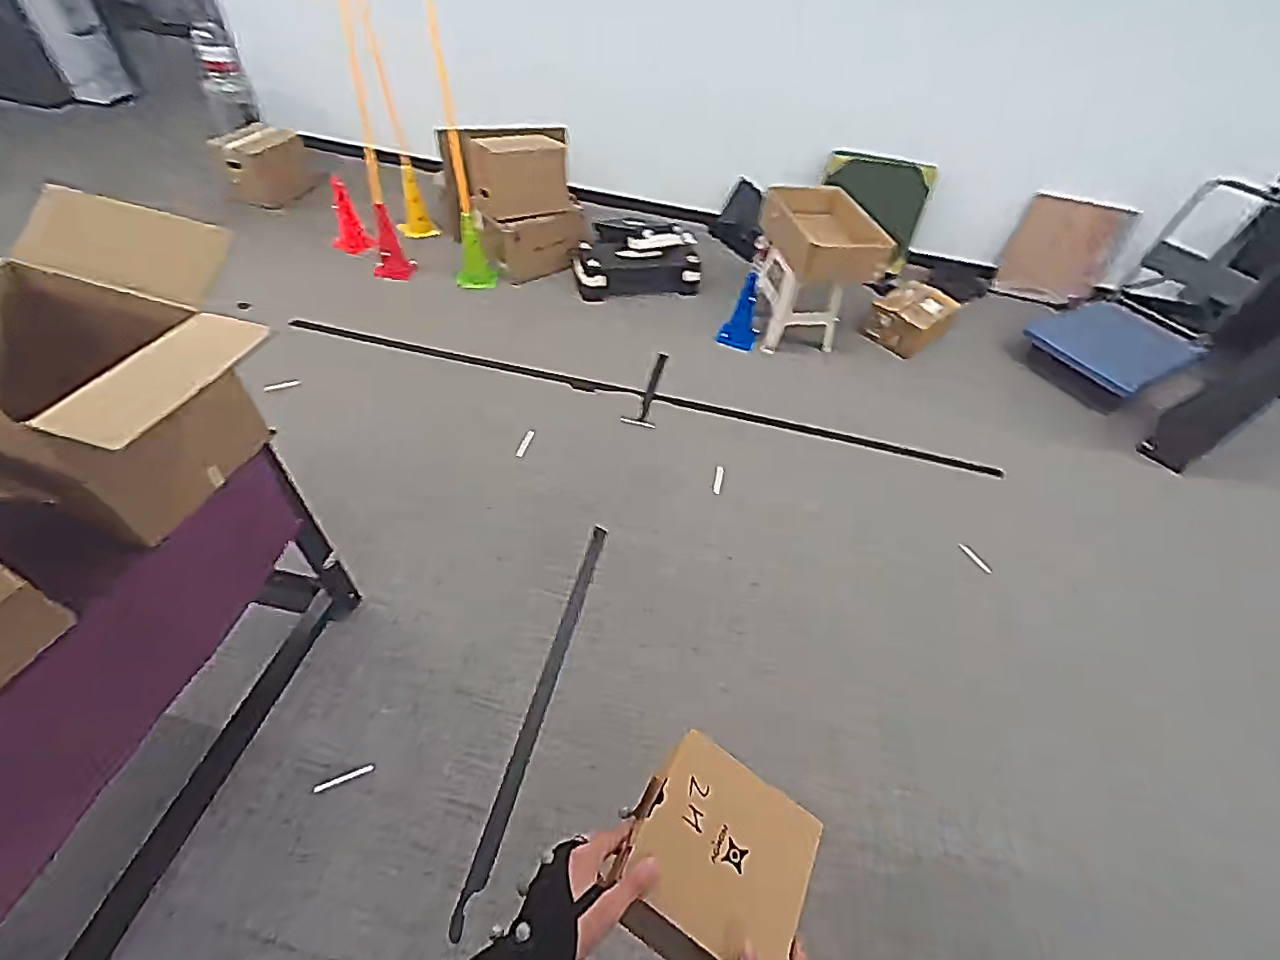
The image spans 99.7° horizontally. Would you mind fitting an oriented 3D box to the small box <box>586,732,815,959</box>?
[{"bbox_3d":[0.062,0.428,0.611,0.179,0.176,0.168,31,48,11],"label":"small box"}]
